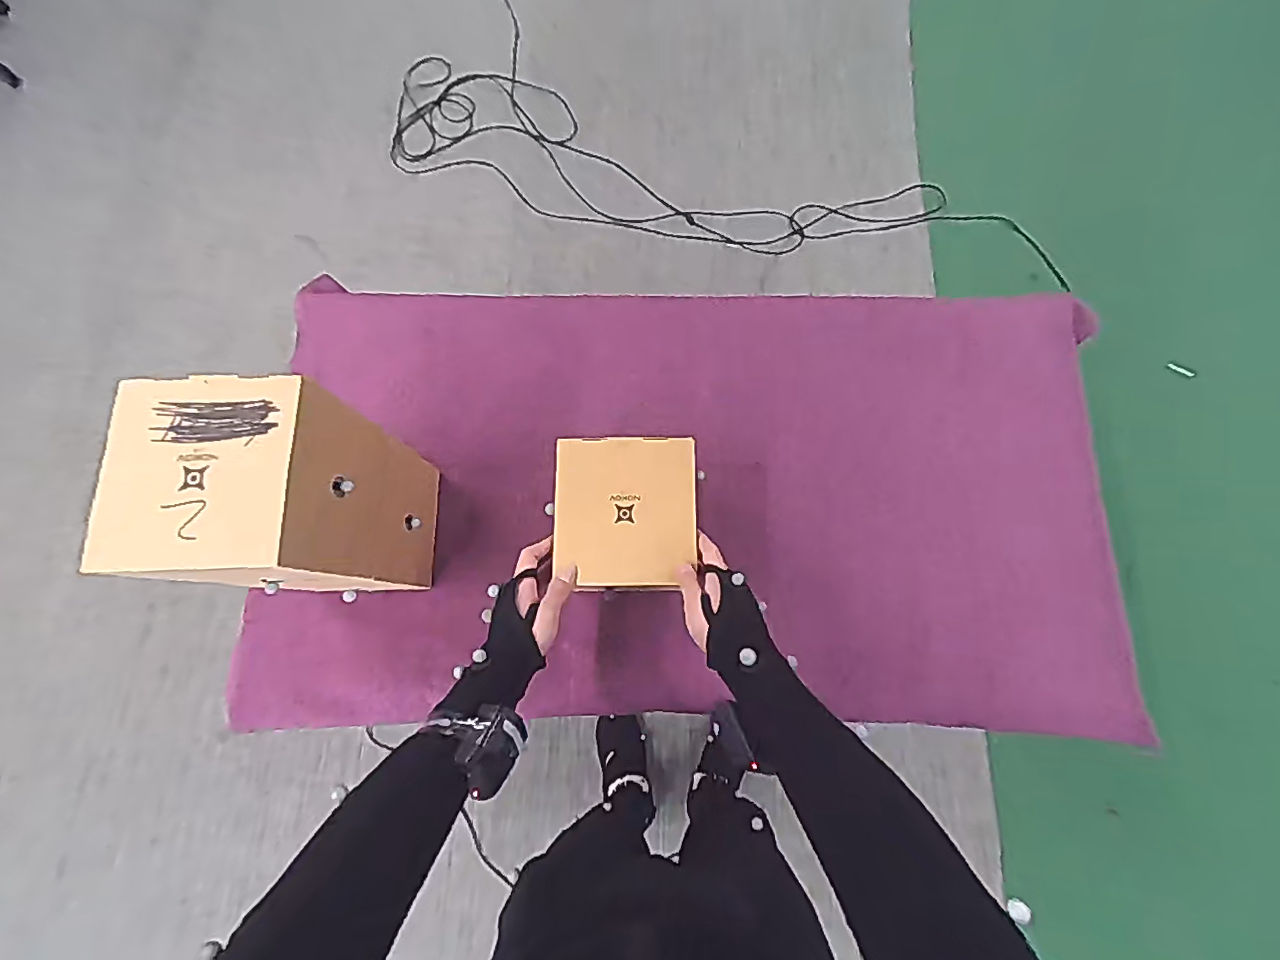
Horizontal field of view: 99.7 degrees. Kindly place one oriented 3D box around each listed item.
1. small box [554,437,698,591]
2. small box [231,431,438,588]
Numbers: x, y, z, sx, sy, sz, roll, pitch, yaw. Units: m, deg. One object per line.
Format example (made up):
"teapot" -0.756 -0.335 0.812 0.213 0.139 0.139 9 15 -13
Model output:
"small box" -0.013 0.052 0.700 0.168 0.176 0.179 0 75 0
"small box" -0.374 0.047 0.698 0.168 0.176 0.179 -1 76 0
